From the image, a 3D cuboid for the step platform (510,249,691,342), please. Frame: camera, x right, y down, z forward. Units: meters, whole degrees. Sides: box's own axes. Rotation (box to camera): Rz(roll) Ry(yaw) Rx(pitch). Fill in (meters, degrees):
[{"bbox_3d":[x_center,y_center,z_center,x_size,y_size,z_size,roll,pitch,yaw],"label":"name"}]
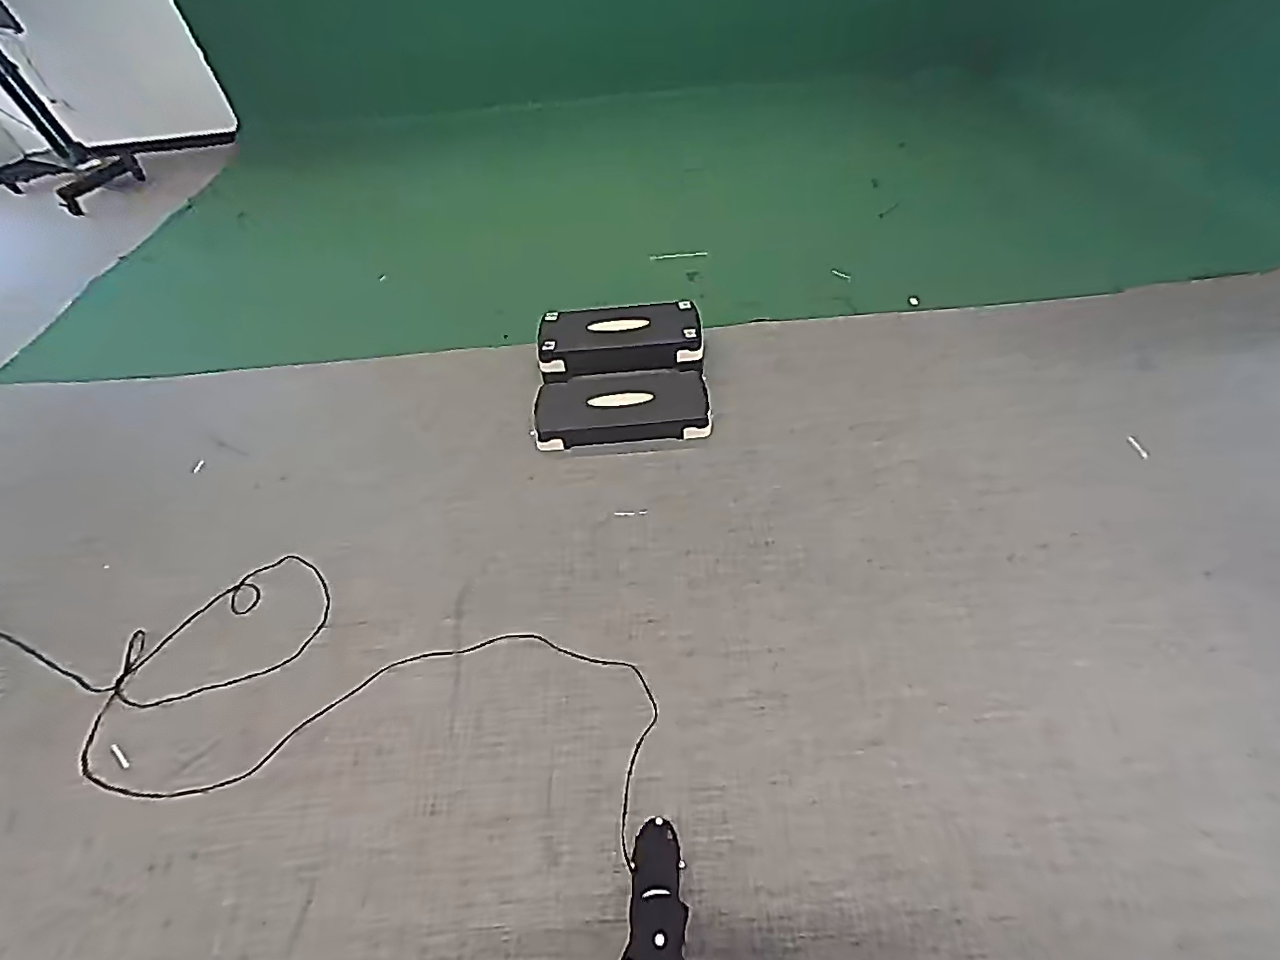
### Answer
[{"bbox_3d":[-0.146,-0.721,2.116,0.684,0.204,0.286,-5,51,2],"label":"step platform"}]
